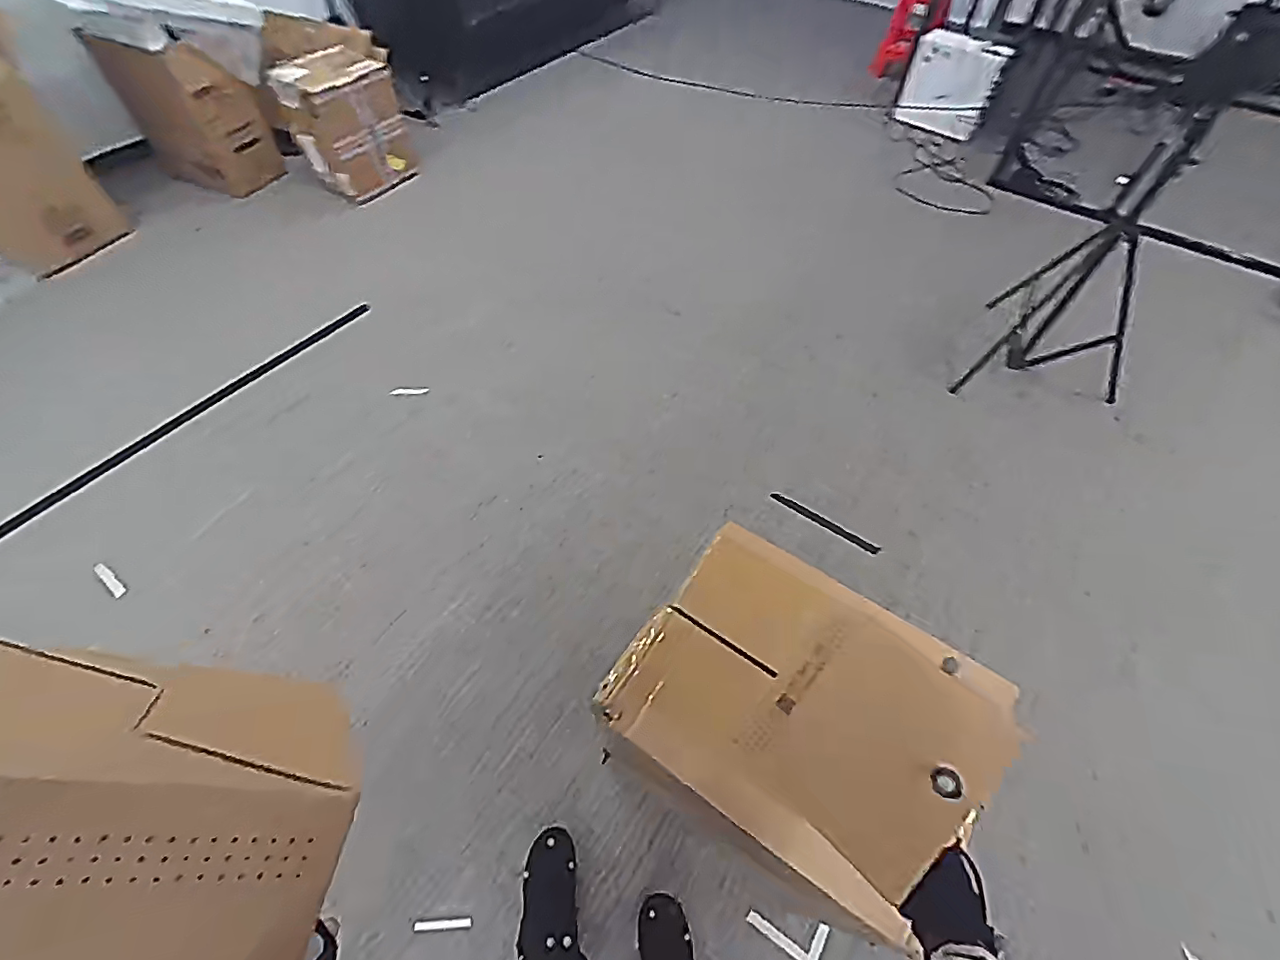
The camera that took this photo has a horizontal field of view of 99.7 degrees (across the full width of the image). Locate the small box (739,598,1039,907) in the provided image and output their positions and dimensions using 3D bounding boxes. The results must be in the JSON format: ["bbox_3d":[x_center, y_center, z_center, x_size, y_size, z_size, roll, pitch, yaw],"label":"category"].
[{"bbox_3d":[0.225,0.227,0.505,0.176,0.179,0.168,38,97,34],"label":"small box"}]

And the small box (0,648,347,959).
[{"bbox_3d":[-0.250,0.183,0.236,0.179,0.168,0.176,22,74,-29],"label":"small box"}]
